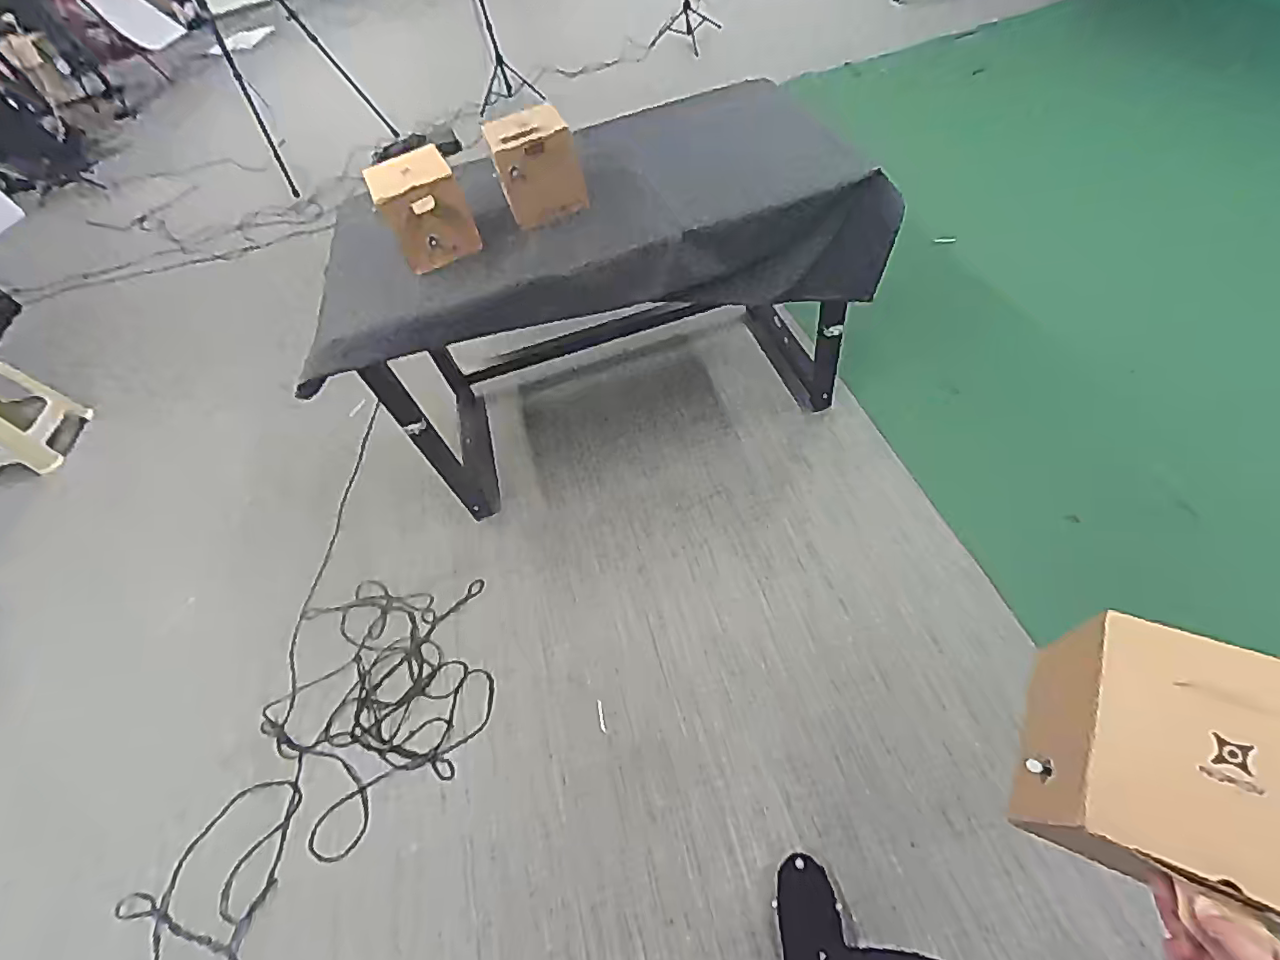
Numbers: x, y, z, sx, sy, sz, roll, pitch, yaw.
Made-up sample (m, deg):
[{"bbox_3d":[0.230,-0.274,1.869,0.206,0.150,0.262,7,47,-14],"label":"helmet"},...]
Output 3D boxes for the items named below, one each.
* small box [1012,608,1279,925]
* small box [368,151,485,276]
[{"bbox_3d":[0.441,0.239,0.455,0.168,0.176,0.179,16,65,23],"label":"small box"},{"bbox_3d":[-0.463,-0.579,1.183,0.168,0.176,0.179,-27,54,-9],"label":"small box"}]
